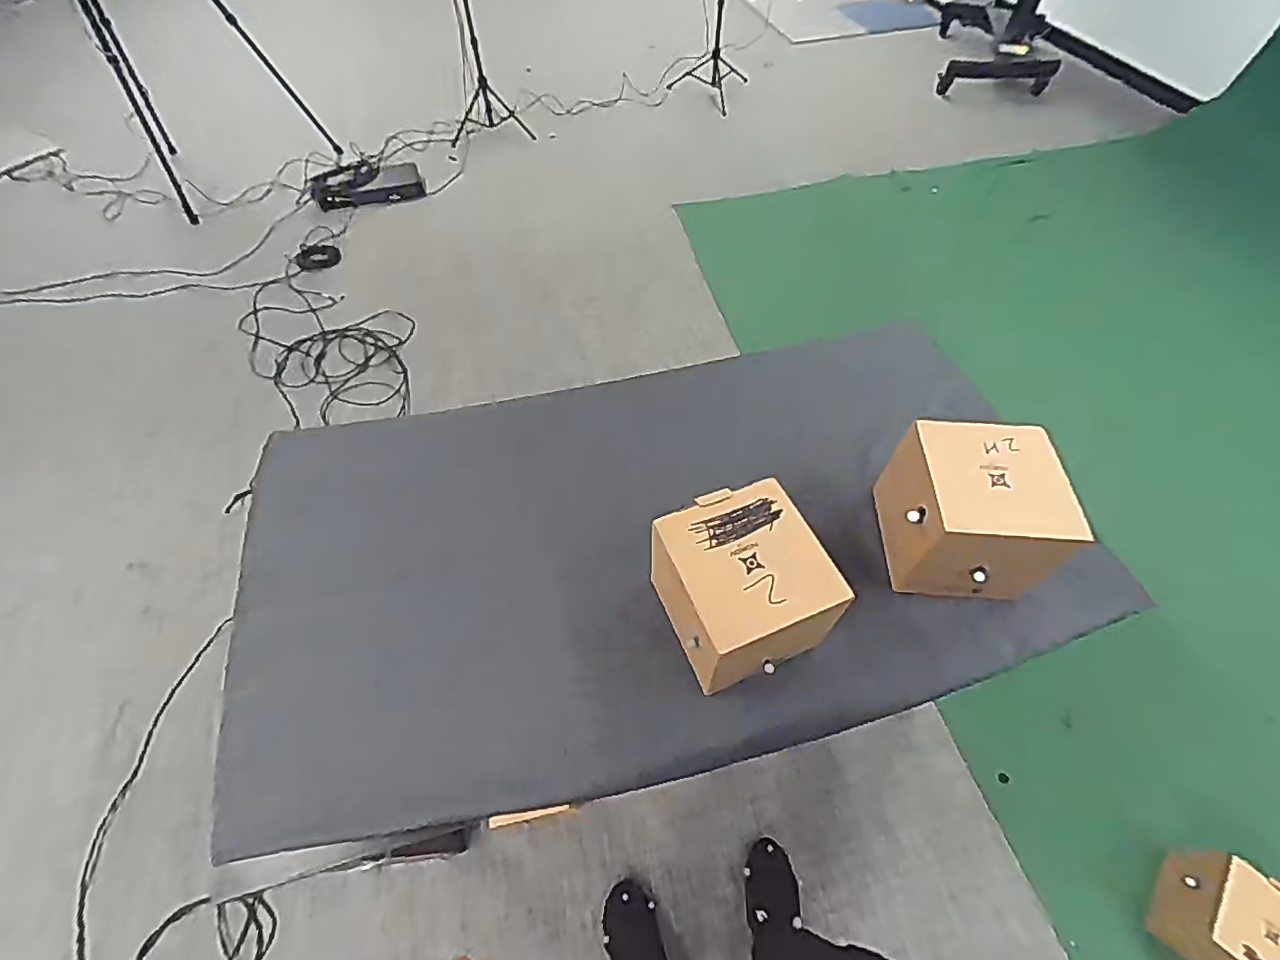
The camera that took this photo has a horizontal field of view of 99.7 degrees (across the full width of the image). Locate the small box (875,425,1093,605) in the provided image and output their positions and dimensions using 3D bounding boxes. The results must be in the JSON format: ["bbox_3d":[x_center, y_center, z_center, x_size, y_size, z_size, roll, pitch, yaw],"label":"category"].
[{"bbox_3d":[0.432,0.051,0.717,0.168,0.176,0.179,4,54,3],"label":"small box"}]

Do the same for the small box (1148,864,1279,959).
[{"bbox_3d":[1.145,0.880,1.041,0.168,0.176,0.179,37,63,22],"label":"small box"}]

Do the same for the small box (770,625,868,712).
[{"bbox_3d":[0.424,0.463,1.321,0.179,0.176,0.168,-2,57,-2],"label":"small box"}]

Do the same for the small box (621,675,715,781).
[{"bbox_3d":[0.061,0.579,1.249,0.168,0.176,0.179,-15,57,-10],"label":"small box"}]

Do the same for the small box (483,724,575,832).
[{"bbox_3d":[-0.243,0.662,1.199,0.168,0.176,0.179,-10,57,-6],"label":"small box"}]
